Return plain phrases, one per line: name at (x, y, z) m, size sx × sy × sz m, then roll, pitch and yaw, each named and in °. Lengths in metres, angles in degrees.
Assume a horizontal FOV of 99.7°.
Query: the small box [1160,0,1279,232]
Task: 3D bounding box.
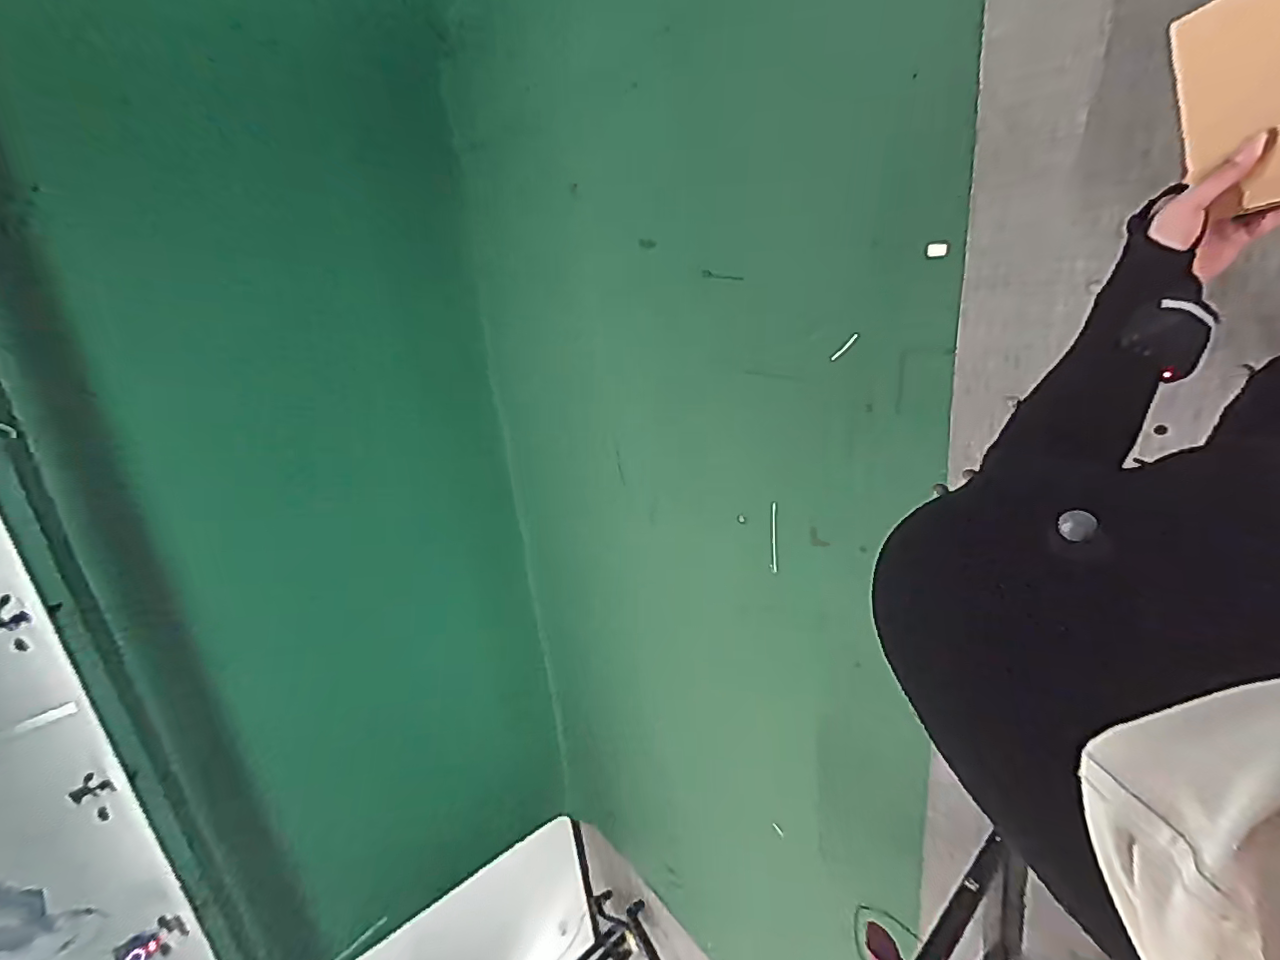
small box at (0.578, -0.339, 0.443) m, size 0.168 × 0.176 × 0.179 m, roll 7°, pitch 124°, yaw 64°
